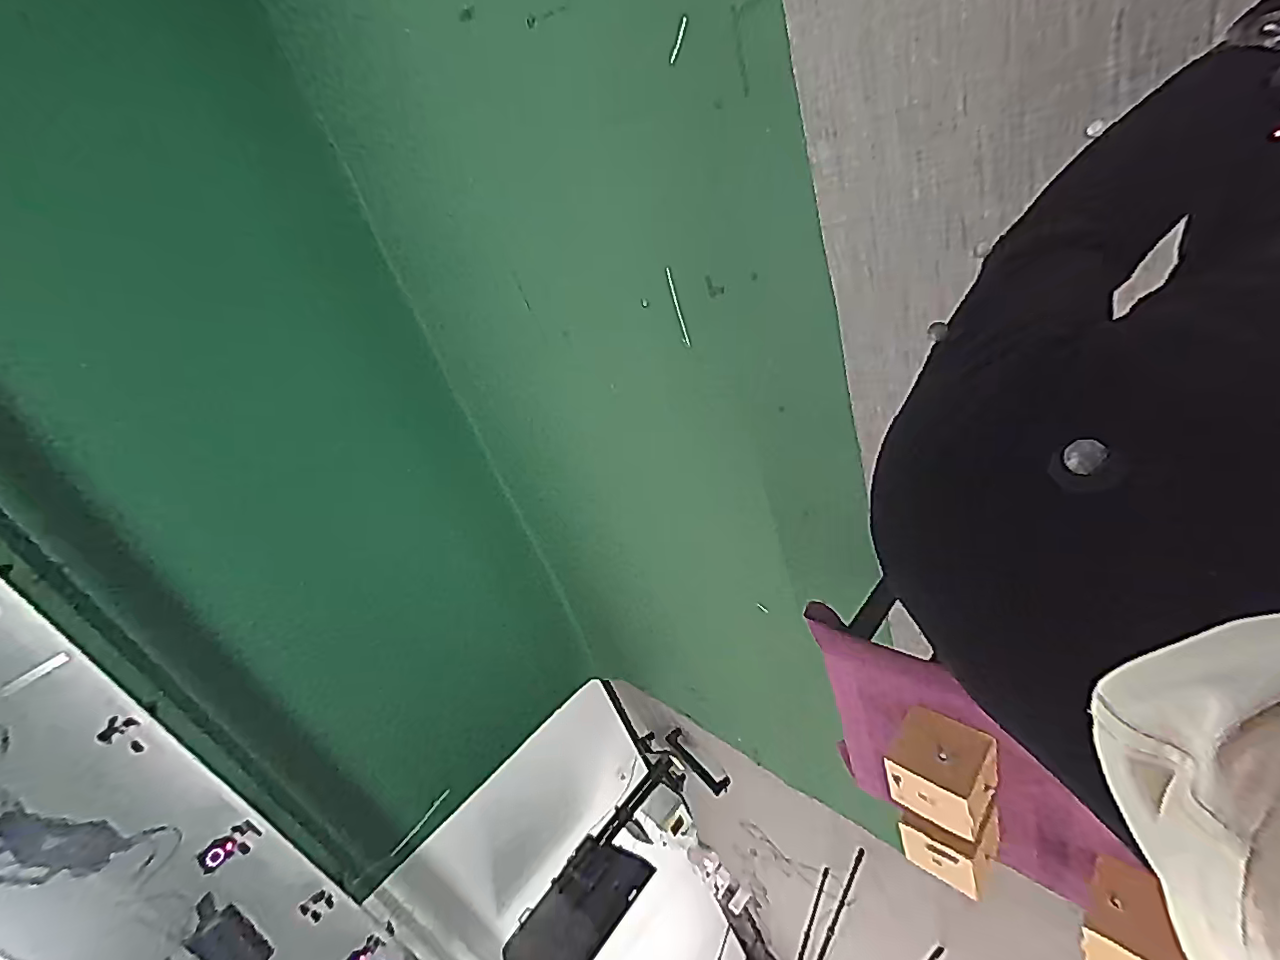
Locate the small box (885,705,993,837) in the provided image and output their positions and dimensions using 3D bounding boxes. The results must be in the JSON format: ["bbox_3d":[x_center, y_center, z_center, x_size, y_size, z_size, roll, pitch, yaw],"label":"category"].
[{"bbox_3d":[0.687,0.651,1.232,0.179,0.176,0.168,11,131,46],"label":"small box"}]

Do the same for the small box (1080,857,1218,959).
[{"bbox_3d":[1.006,0.899,1.073,0.179,0.176,0.168,7,128,49],"label":"small box"}]

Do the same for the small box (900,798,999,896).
[{"bbox_3d":[0.769,0.861,1.341,0.168,0.176,0.179,10,130,48],"label":"small box"}]
